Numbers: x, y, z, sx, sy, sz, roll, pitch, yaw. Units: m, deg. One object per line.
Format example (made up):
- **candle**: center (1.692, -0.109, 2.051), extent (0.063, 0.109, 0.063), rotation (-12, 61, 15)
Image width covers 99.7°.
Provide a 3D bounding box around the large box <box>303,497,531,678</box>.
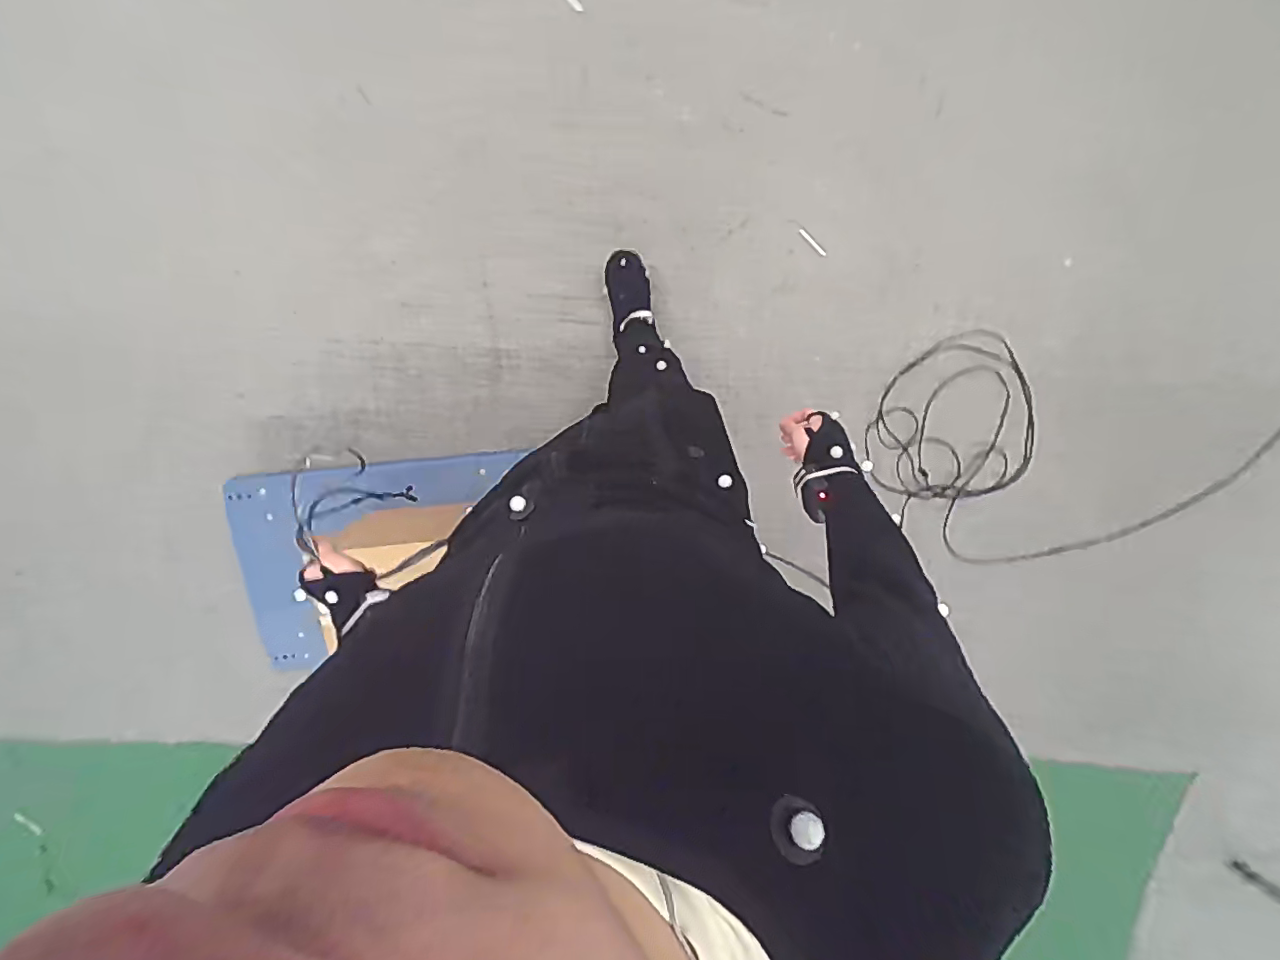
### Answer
- **large box**: center (-0.512, 0.246, 1.333), extent (0.408, 0.320, 0.320), rotation (-5, 104, 0)
